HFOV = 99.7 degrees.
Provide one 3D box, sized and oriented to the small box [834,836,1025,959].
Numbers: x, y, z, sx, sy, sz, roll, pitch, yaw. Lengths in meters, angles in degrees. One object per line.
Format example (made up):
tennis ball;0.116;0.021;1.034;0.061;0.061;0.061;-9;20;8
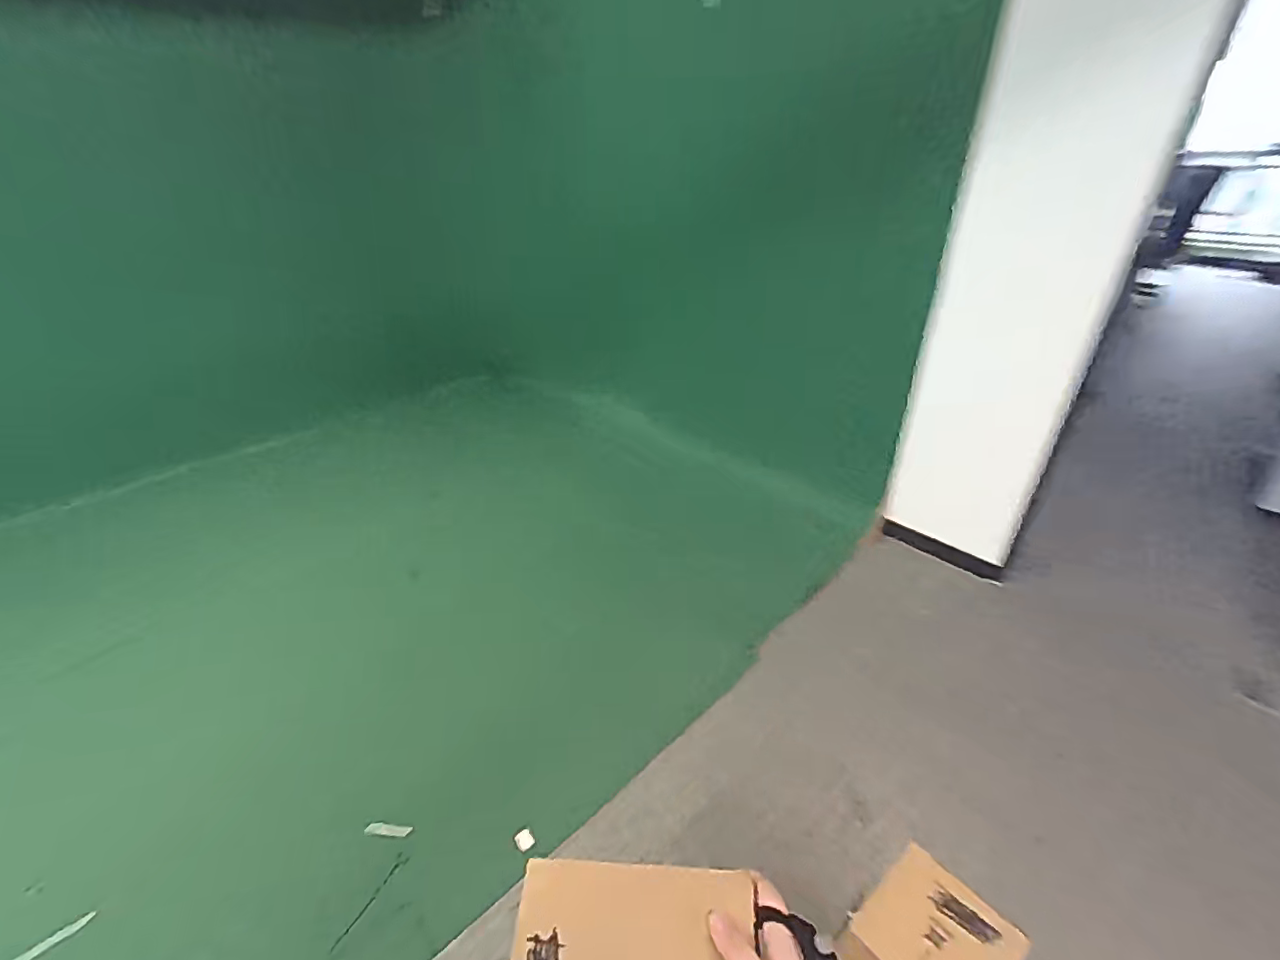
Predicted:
small box;0.400;0.672;0.771;0.179;0.176;0.168;-23;37;-33
